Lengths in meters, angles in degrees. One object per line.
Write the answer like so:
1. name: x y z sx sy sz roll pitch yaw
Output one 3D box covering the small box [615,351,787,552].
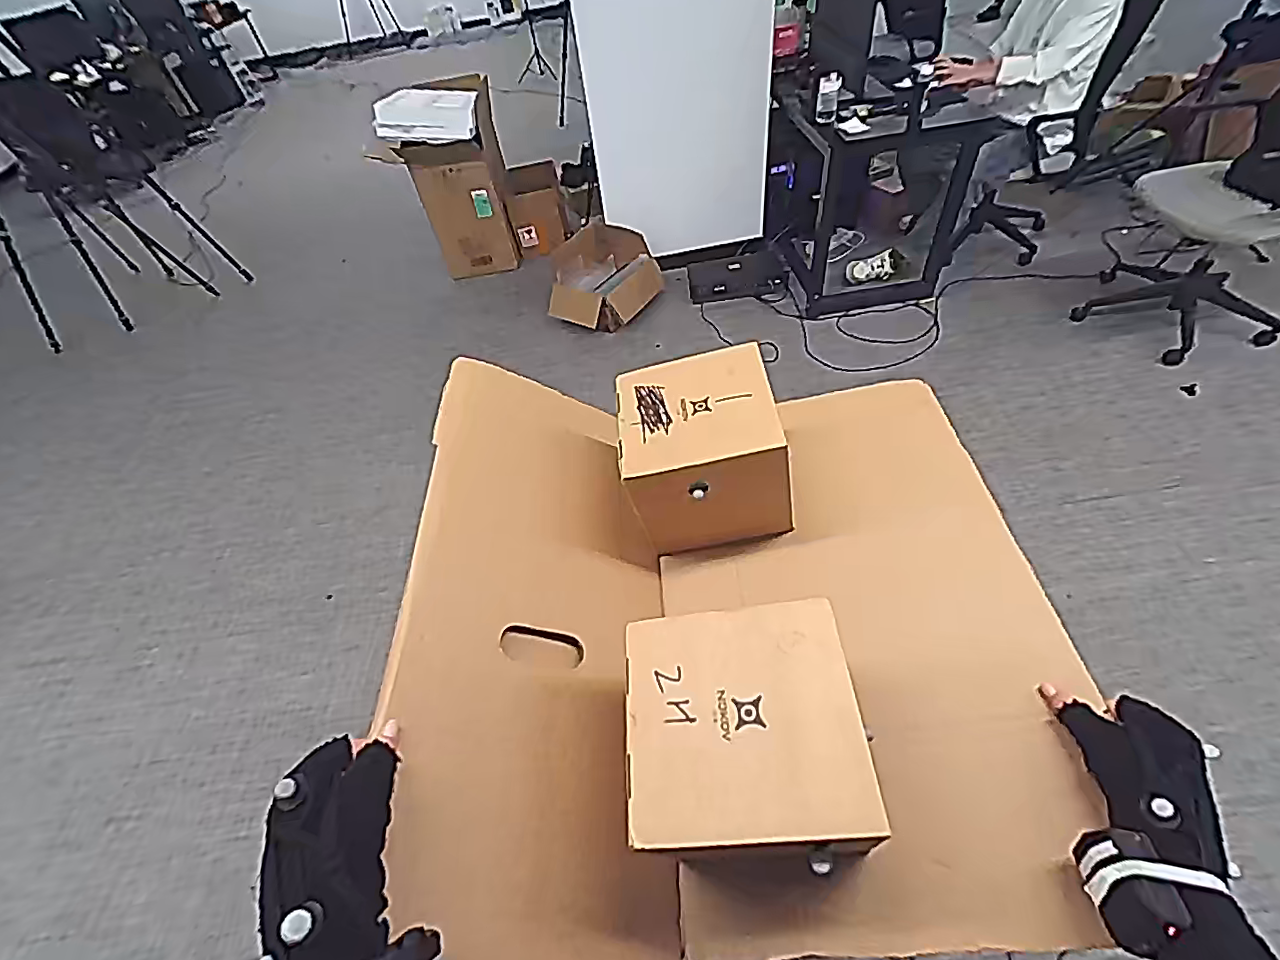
1. small box: 0.076 -0.027 0.673 0.179 0.176 0.168 -12 52 9
